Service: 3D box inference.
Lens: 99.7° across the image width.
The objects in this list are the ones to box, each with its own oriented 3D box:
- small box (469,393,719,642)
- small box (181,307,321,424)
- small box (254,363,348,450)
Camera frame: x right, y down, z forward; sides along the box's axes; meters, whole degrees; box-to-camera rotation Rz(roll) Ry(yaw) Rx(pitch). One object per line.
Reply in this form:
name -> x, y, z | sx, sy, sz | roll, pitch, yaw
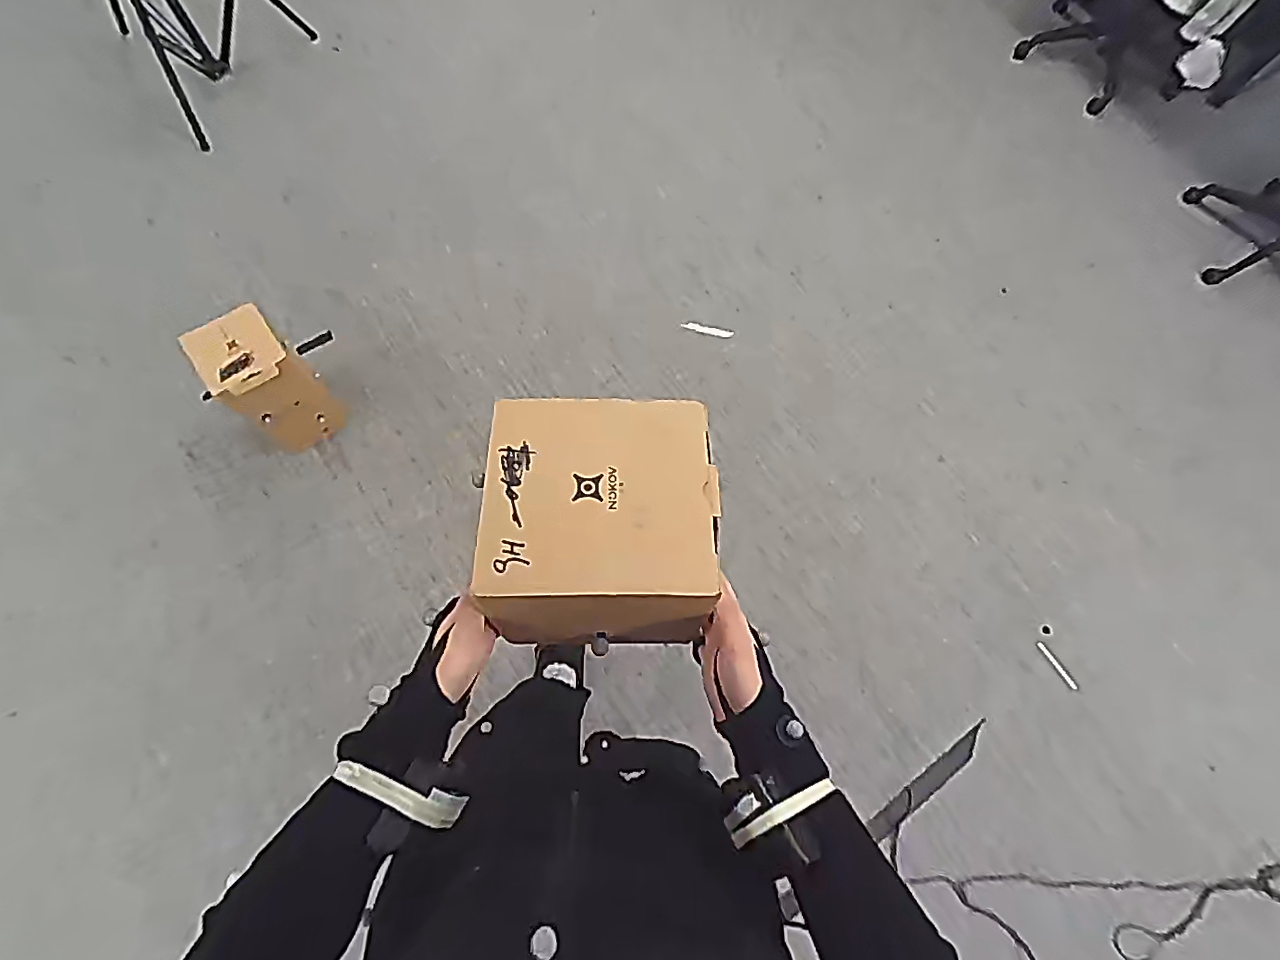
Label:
small box -> -0.037, 0.043, 0.481 | 0.179, 0.176, 0.168 | 2, 61, -4
small box -> -0.877, -0.251, 1.239 | 0.168, 0.176, 0.179 | -35, 78, -15
small box -> -0.896, -0.197, 1.393 | 0.168, 0.176, 0.179 | -36, 77, -16
